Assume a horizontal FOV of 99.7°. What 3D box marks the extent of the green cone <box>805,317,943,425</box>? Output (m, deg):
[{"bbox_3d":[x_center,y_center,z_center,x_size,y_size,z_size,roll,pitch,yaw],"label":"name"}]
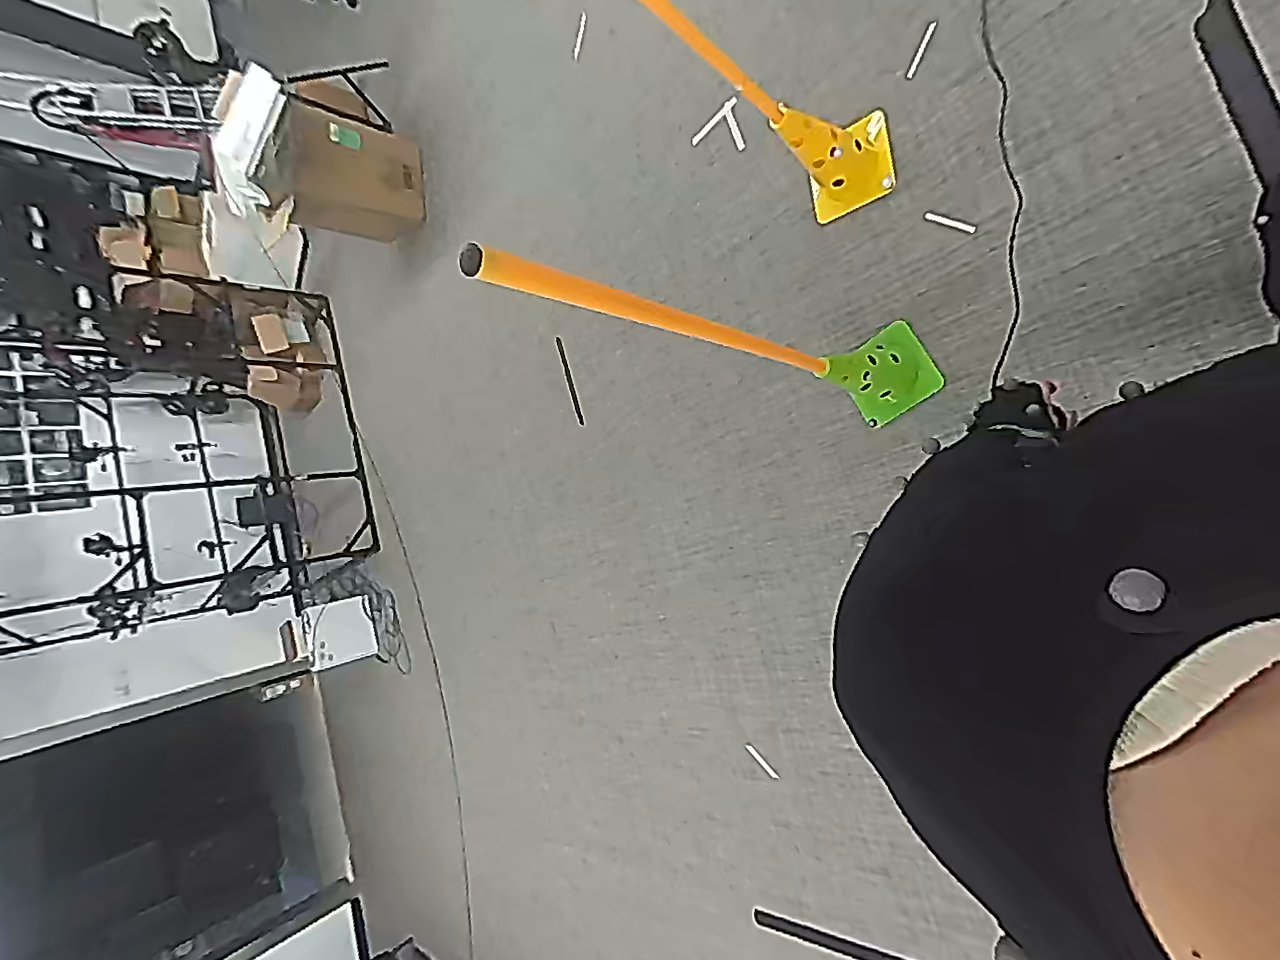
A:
[{"bbox_3d":[0.476,-0.250,1.192,0.200,0.368,0.202,-40,66,40],"label":"green cone"}]
